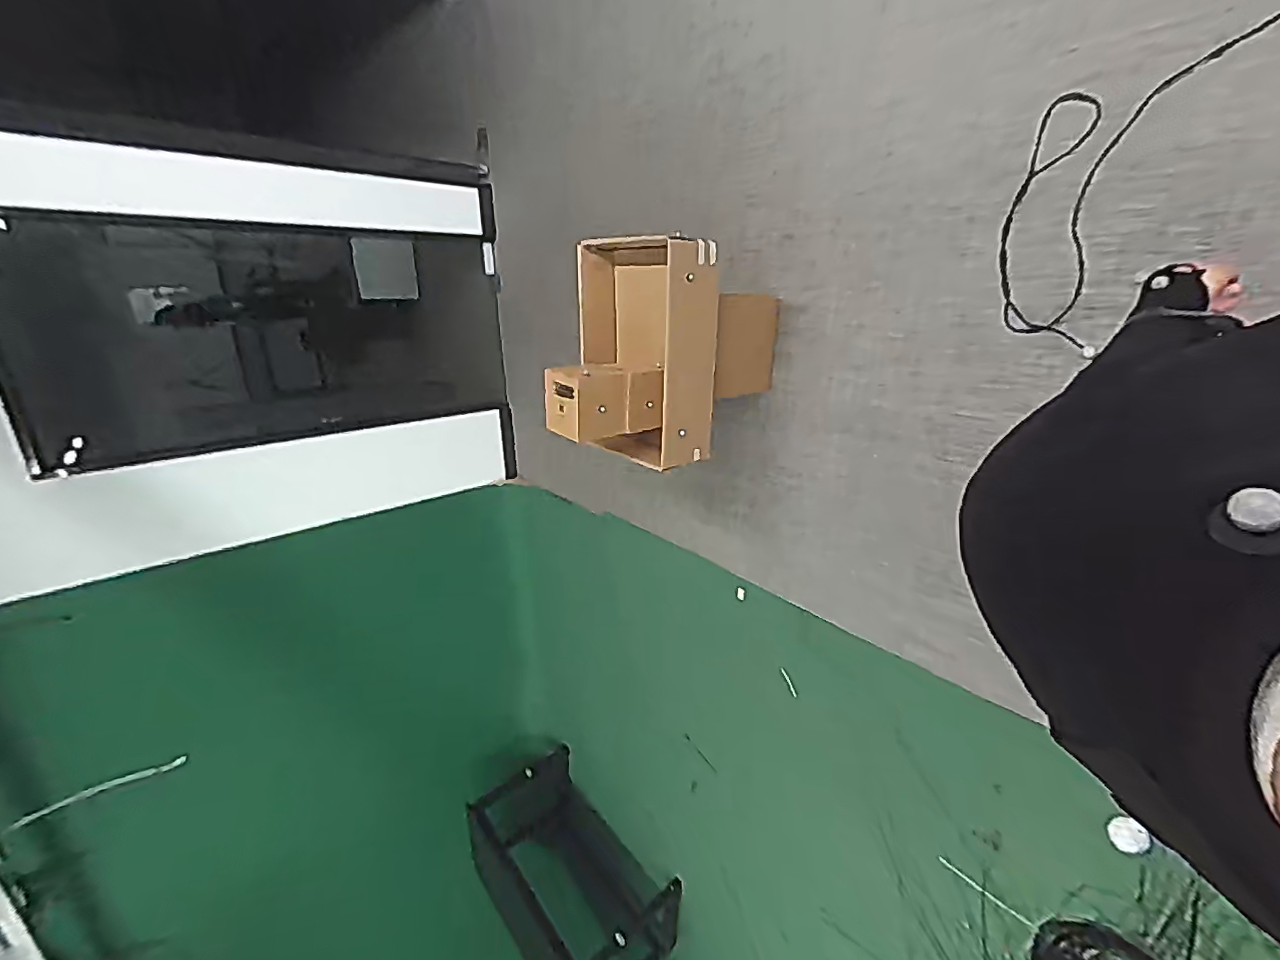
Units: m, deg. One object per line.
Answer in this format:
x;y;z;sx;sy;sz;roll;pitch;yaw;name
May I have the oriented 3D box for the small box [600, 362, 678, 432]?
-0.002;-0.257;1.627;0.168;0.176;0.179;25;121;45;small box
